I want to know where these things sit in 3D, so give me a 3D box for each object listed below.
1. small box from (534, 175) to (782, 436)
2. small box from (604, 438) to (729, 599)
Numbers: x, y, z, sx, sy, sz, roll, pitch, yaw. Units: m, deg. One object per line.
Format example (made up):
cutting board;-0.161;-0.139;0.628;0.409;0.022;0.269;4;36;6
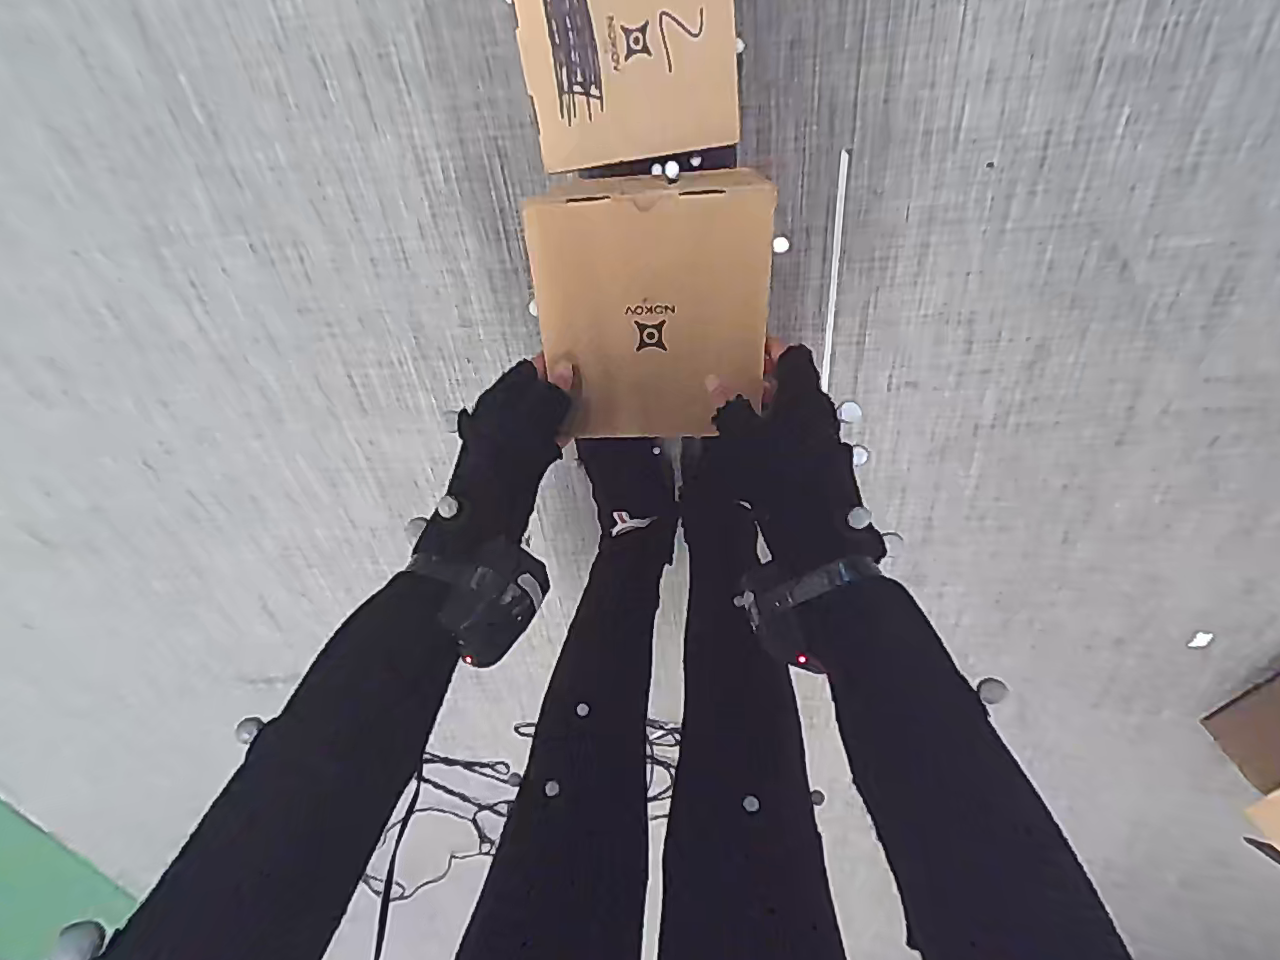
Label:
small box;0.022;-0.153;0.460;0.168;0.176;0.179;1;121;7
small box;0.033;0.055;0.817;0.168;0.176;0.179;-3;124;-2
